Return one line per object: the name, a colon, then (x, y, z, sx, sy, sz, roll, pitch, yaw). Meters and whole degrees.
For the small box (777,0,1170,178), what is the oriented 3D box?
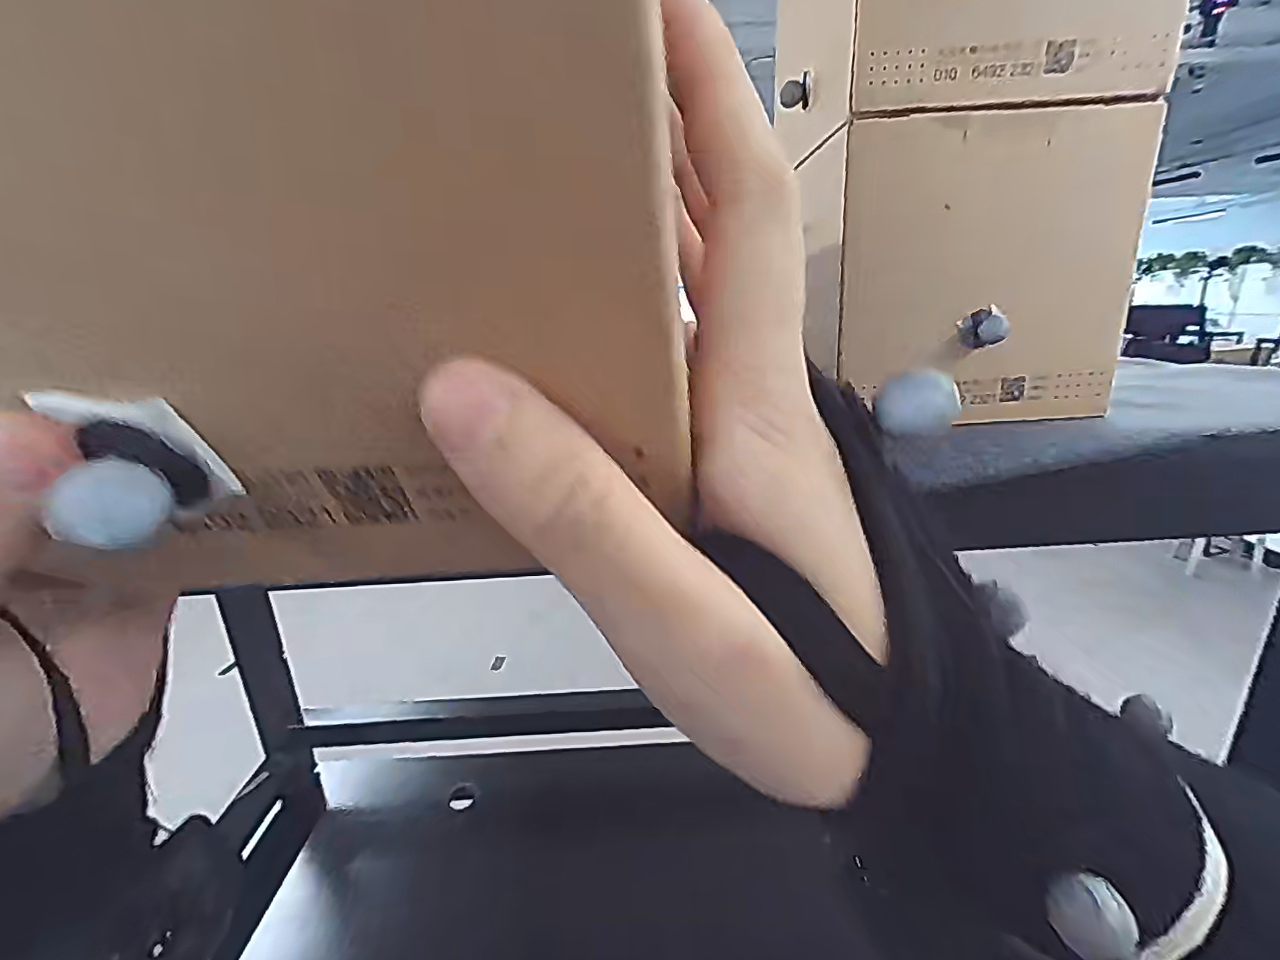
small box: (0.187, -0.298, 0.336, 0.168, 0.176, 0.179, -3, 17, 1)

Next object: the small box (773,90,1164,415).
small box: (0.194, -0.141, 0.382, 0.168, 0.176, 0.179, -4, 17, 0)
